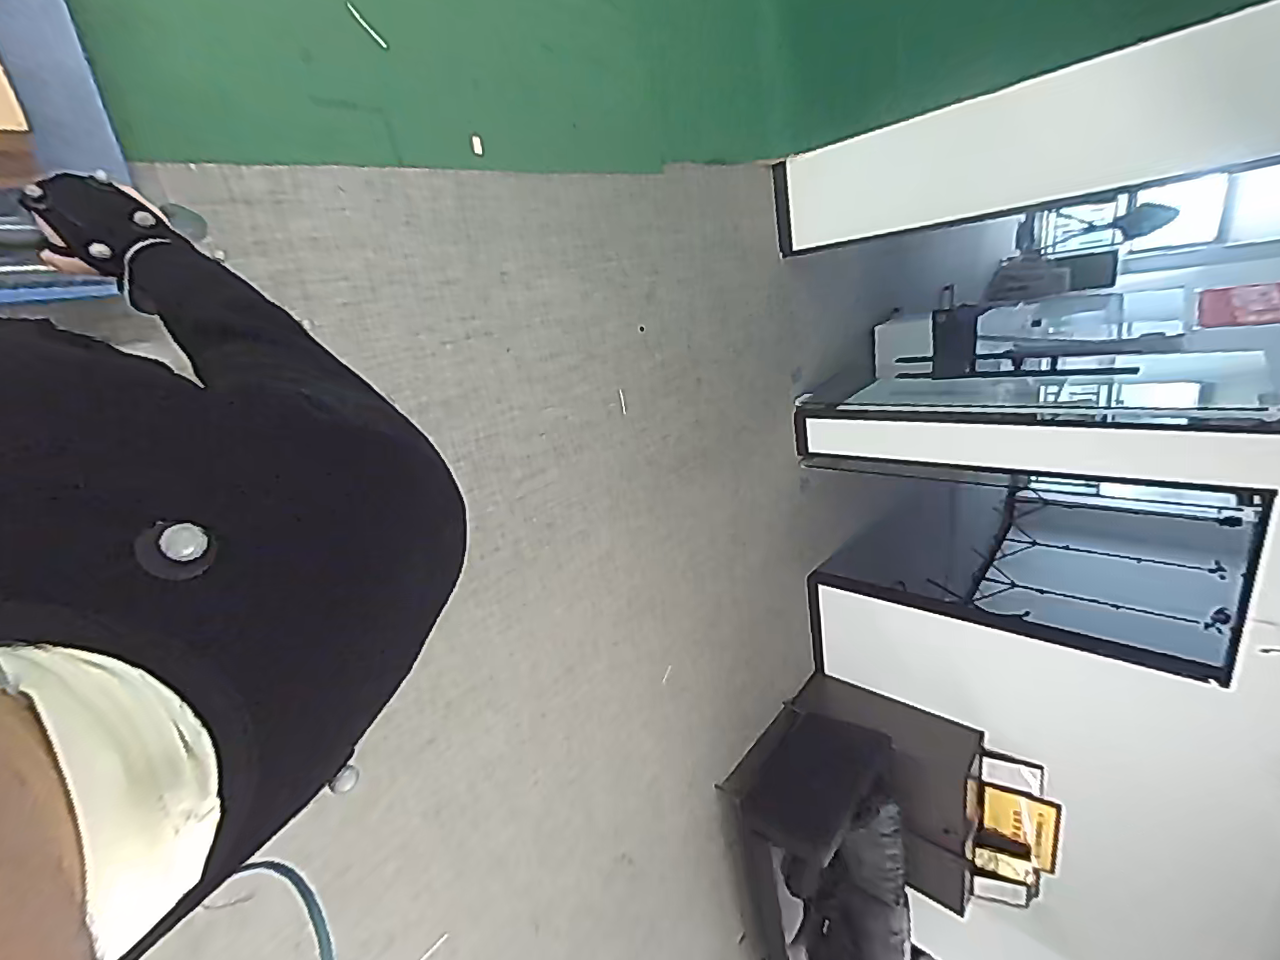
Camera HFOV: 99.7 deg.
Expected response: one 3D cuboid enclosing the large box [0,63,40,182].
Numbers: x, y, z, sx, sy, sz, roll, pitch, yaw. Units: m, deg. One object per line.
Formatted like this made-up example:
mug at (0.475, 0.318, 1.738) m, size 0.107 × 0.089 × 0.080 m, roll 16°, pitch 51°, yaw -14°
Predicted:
large box at (-1.110, -0.644, 0.707) m, size 0.320 × 0.320 × 0.408 m, roll -27°, pitch 116°, yaw -40°
